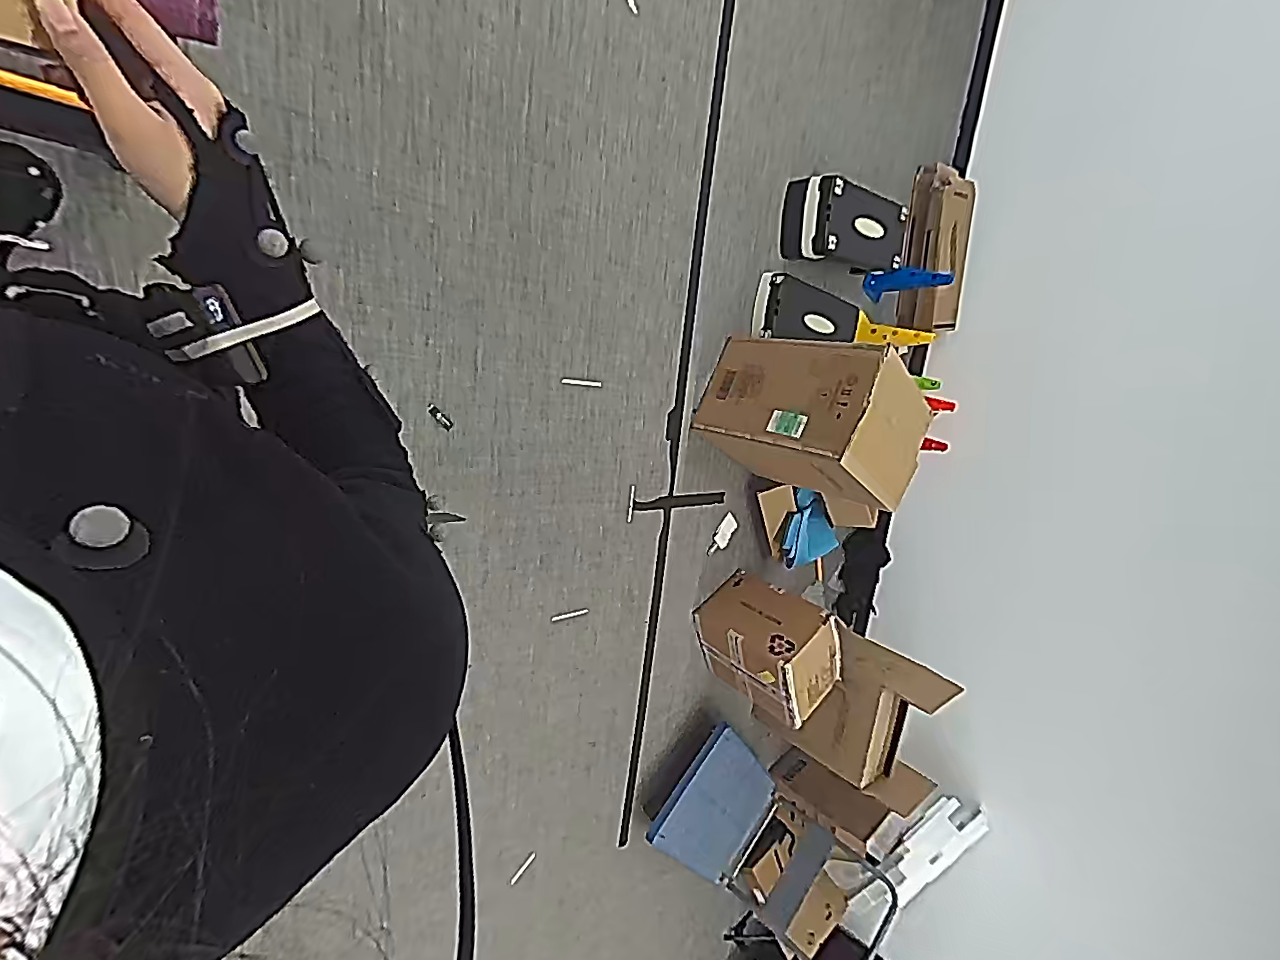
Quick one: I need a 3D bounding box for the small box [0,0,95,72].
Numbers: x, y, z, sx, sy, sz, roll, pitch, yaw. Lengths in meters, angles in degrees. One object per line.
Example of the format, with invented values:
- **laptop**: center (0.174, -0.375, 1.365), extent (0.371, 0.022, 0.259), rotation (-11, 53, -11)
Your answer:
- **small box**: center (-0.384, -0.314, 0.242), extent (0.179, 0.176, 0.168), rotation (-10, 123, -42)
